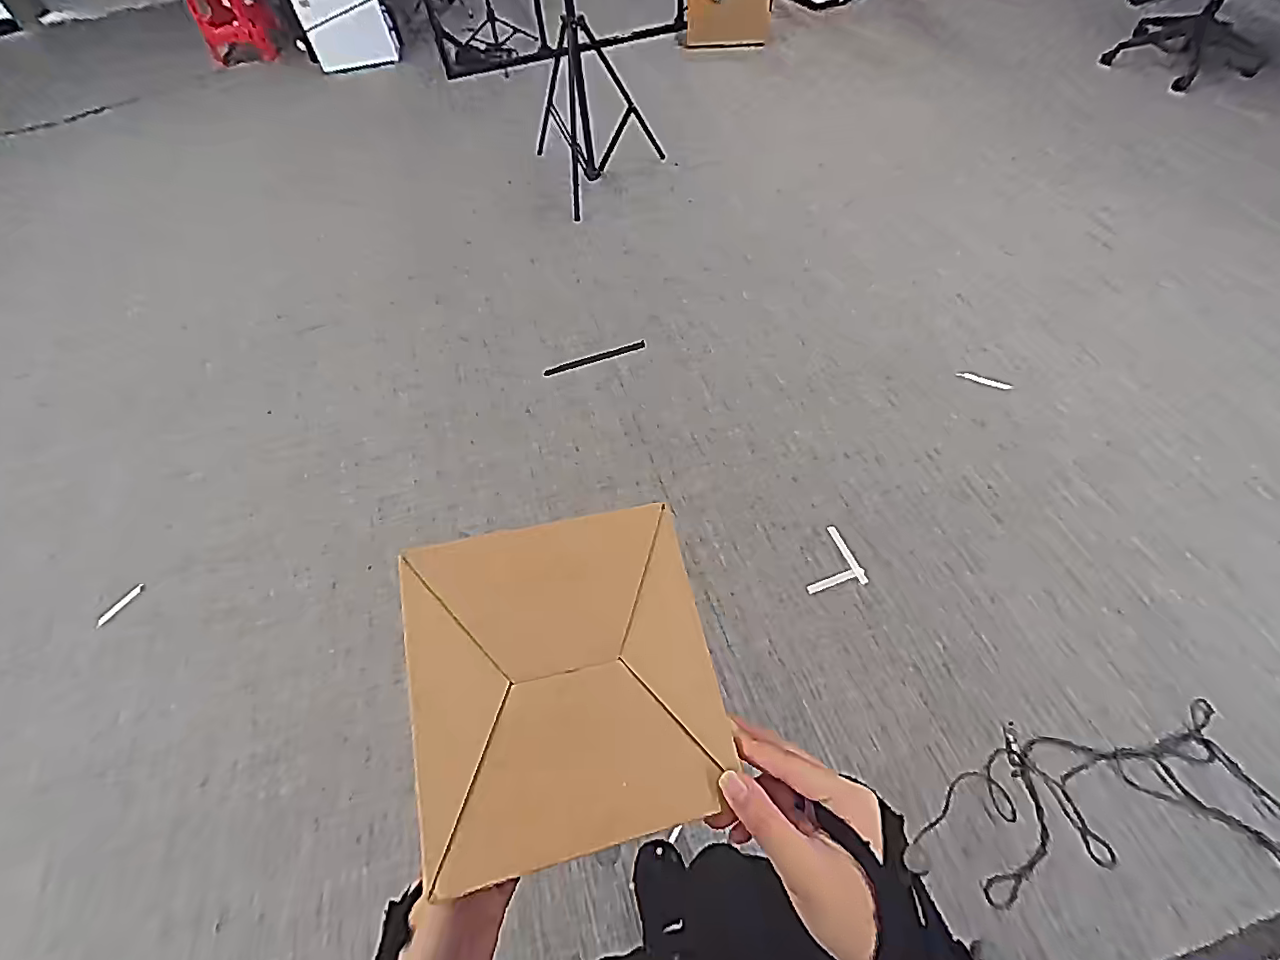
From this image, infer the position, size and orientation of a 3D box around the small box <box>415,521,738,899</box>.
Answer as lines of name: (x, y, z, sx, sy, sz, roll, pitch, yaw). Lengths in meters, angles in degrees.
small box: (-0.049, 0.144, 0.375, 0.168, 0.176, 0.179, -10, 67, -12)
